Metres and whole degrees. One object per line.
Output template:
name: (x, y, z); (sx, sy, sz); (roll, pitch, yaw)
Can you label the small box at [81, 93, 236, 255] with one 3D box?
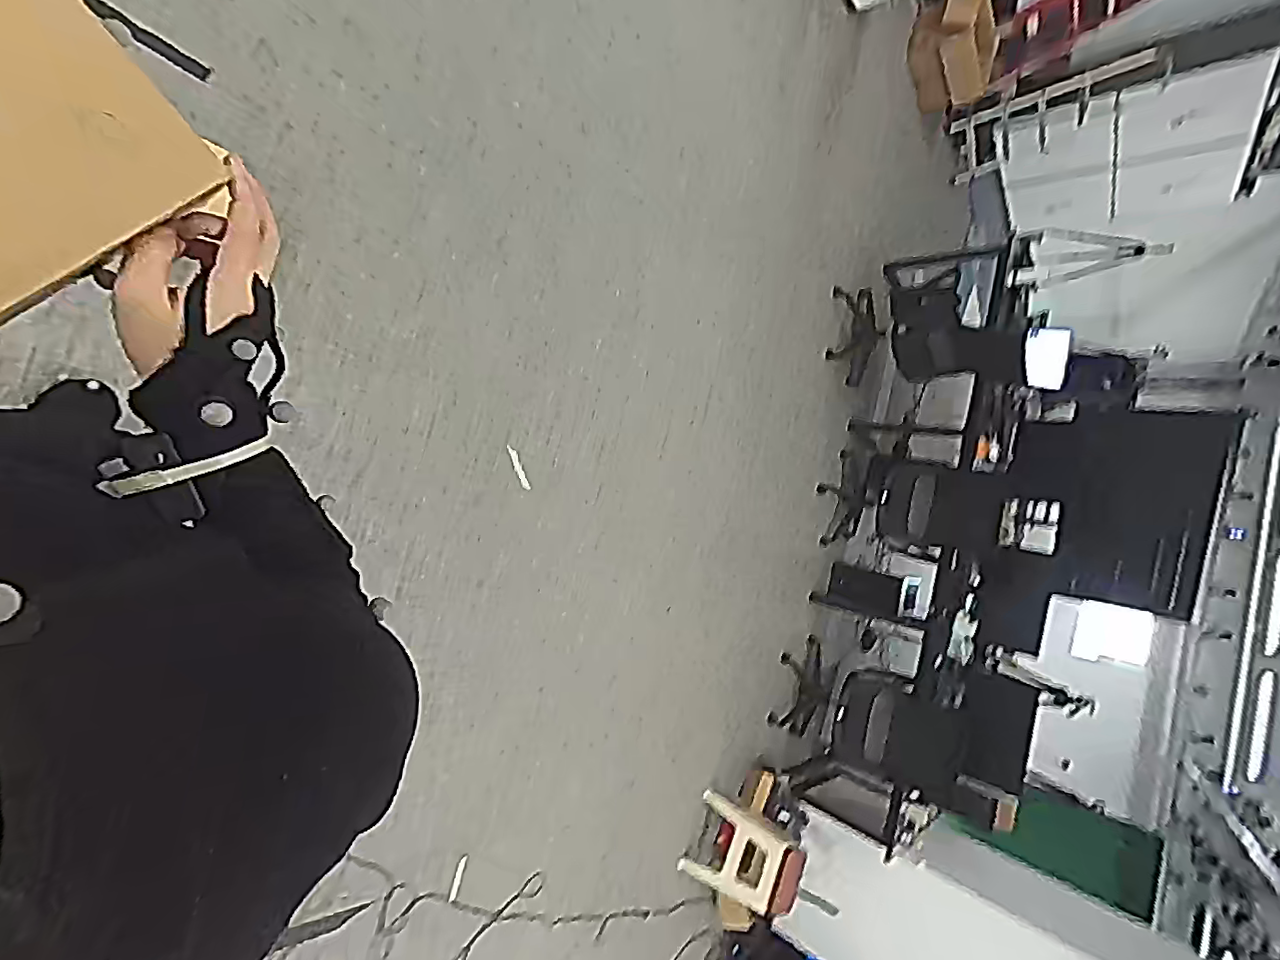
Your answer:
small box: (-0.863, -0.531, 0.968); (0.168, 0.176, 0.179); (17, 85, -49)
